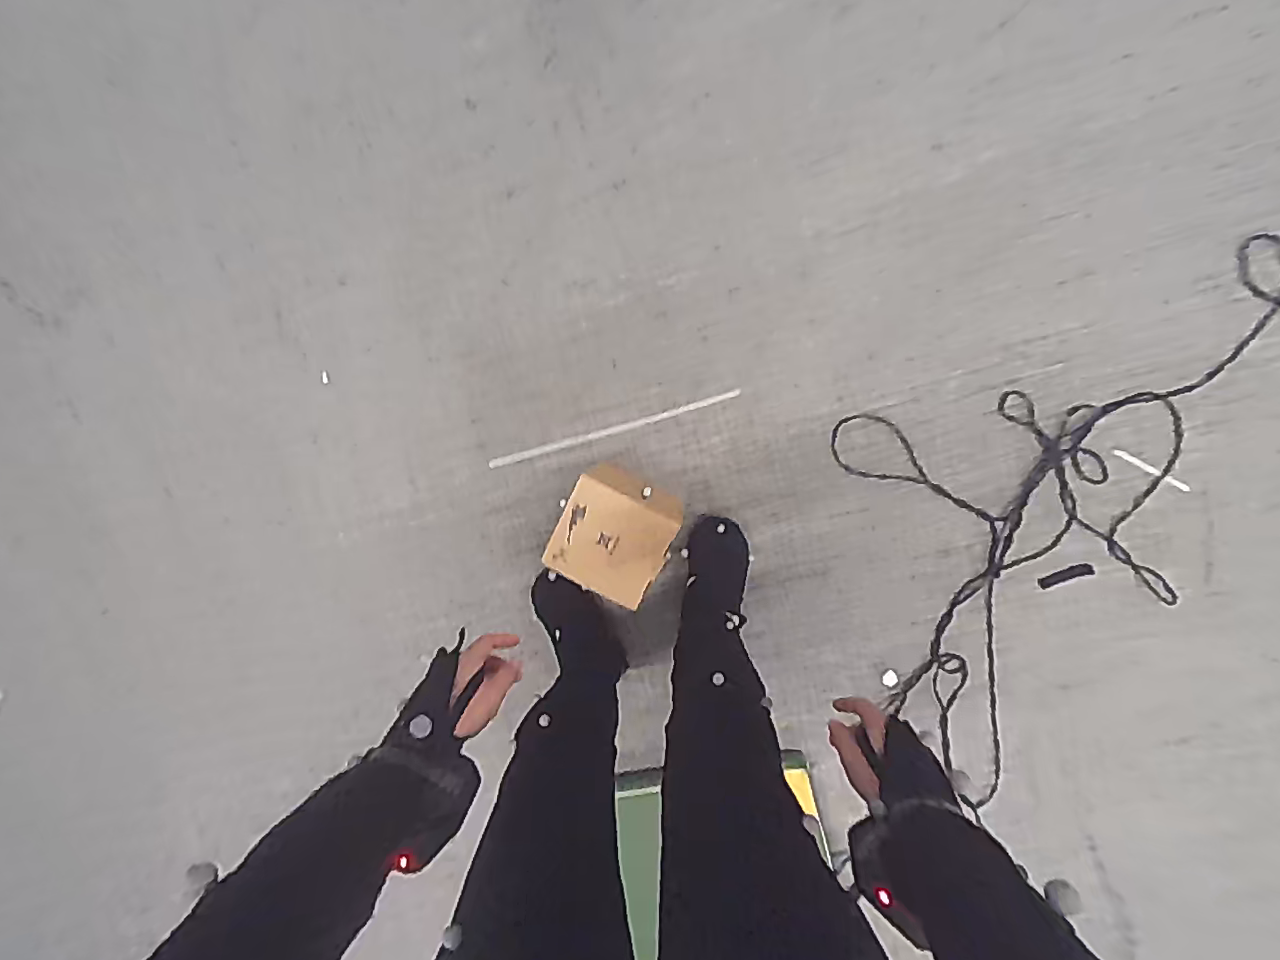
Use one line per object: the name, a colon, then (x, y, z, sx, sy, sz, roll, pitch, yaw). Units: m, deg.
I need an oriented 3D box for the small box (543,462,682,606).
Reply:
small box: (-0.037, 0.081, 0.934, 0.179, 0.176, 0.168, 27, 102, 1)
